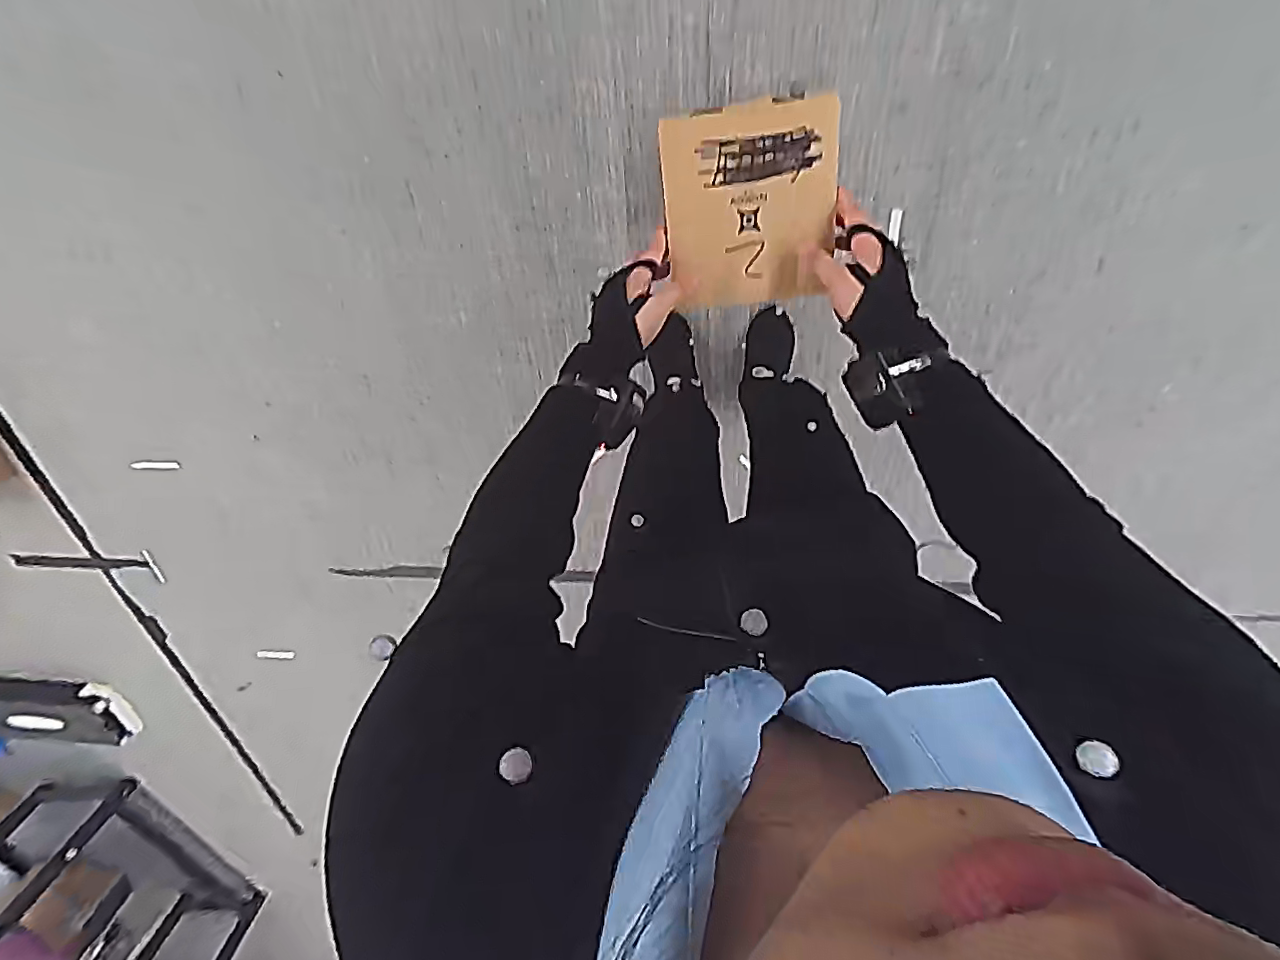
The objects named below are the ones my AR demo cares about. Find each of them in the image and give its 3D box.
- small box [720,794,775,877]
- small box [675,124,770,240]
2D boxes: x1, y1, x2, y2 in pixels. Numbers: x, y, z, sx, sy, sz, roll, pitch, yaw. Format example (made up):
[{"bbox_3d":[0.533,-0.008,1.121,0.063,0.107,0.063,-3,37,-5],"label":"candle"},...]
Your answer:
[{"bbox_3d":[0.358,1.202,1.832,0.168,0.176,0.179,1,119,6],"label":"small box"},{"bbox_3d":[0.153,-0.571,1.042,0.168,0.176,0.179,-2,121,7],"label":"small box"}]
